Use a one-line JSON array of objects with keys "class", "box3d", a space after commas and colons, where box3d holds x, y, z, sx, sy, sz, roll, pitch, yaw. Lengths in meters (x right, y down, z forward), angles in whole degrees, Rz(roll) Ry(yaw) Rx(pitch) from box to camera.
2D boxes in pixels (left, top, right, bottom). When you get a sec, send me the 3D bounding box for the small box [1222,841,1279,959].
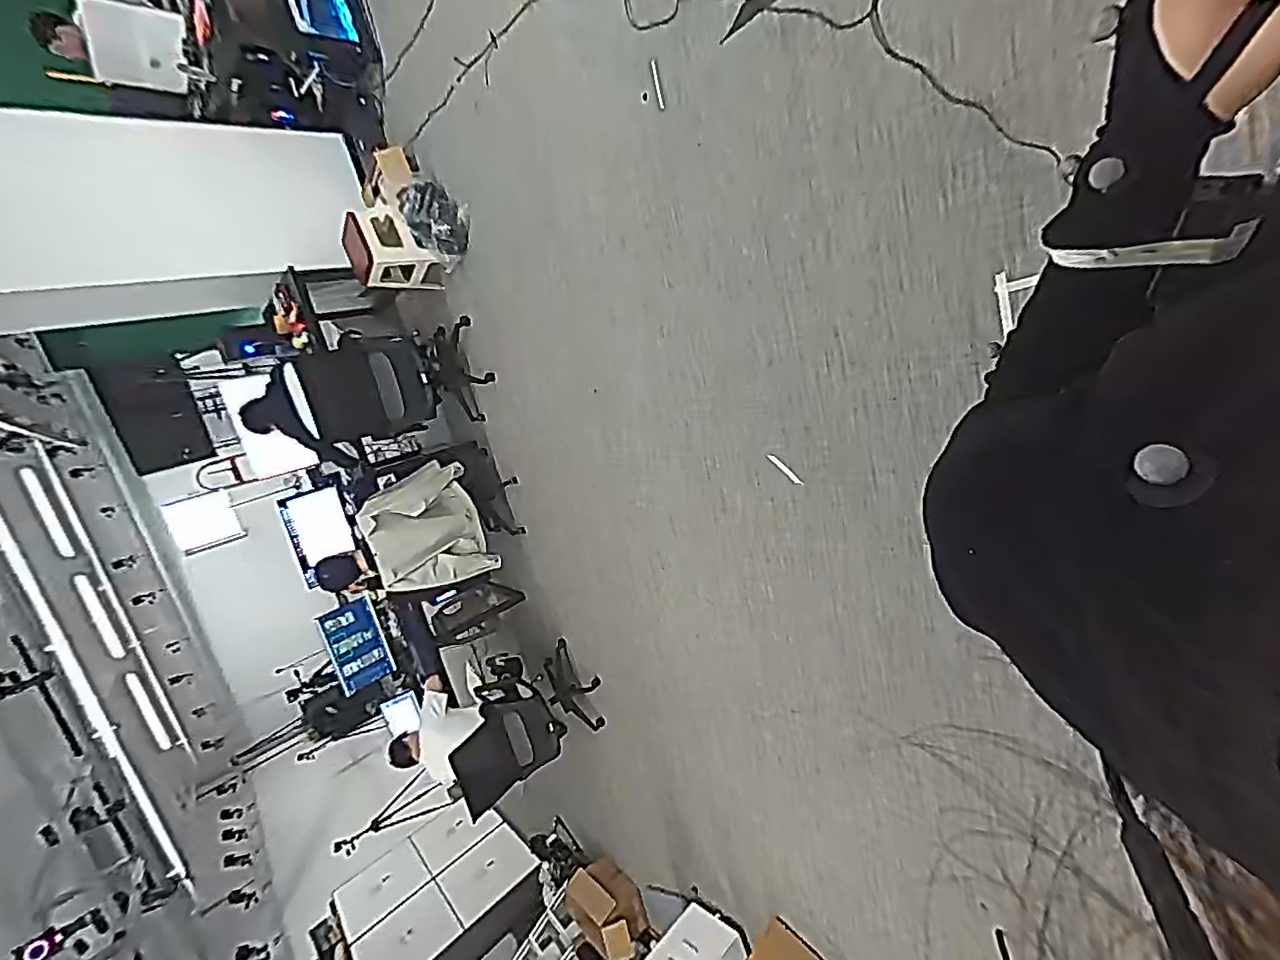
[{"class": "small box", "box3d": [0.670, 0.497, 0.508, 0.168, 0.176, 0.179, 4, 111, 50]}]
